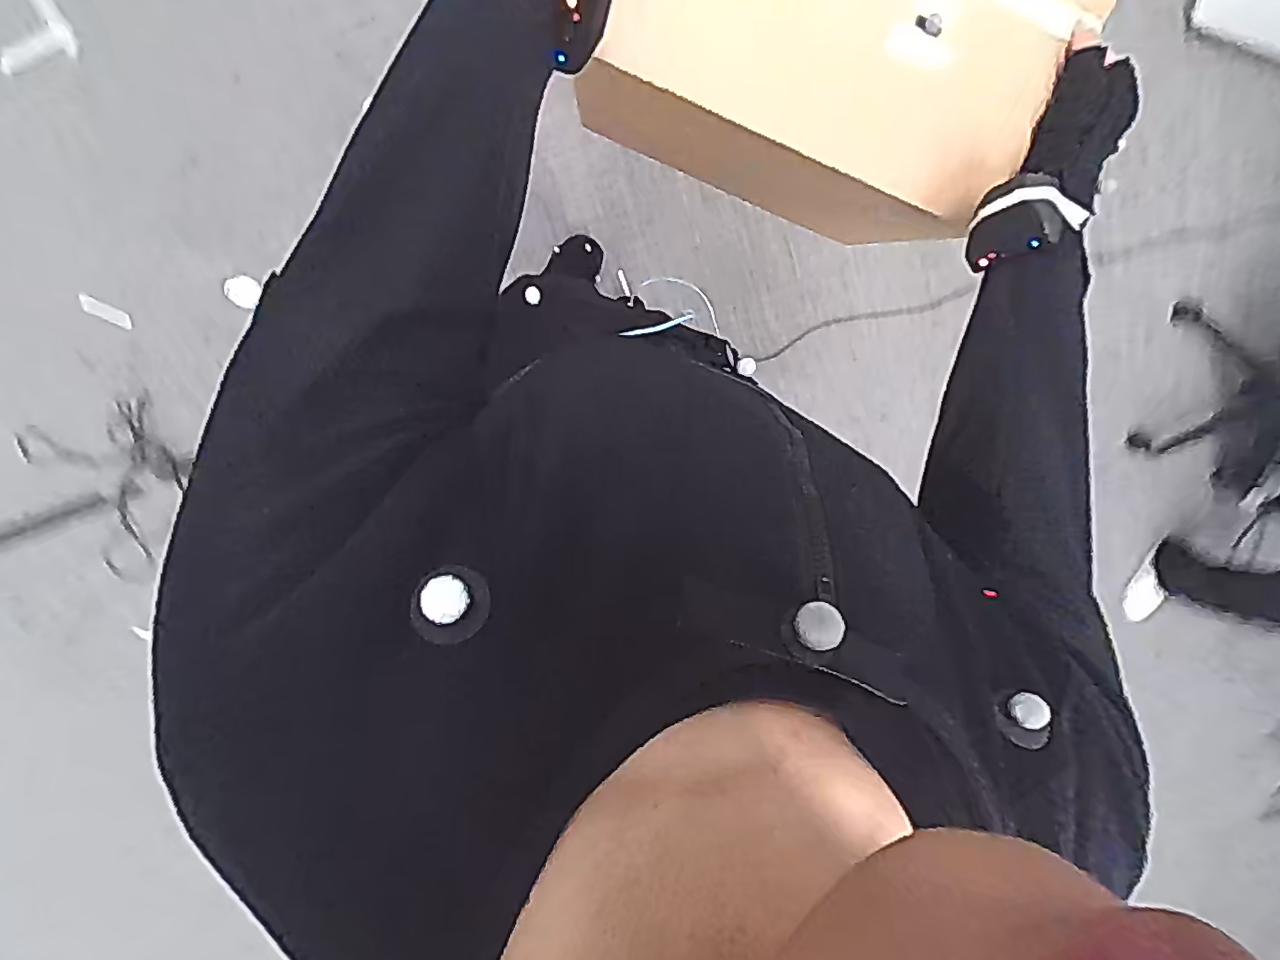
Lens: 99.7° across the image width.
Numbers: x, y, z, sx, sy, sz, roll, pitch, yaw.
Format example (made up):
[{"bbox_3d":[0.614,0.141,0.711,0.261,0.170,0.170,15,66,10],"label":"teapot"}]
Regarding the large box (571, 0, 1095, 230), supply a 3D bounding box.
[{"bbox_3d":[0.167,-0.487,0.553,0.408,0.320,0.320,17,112,-11],"label":"large box"}]
